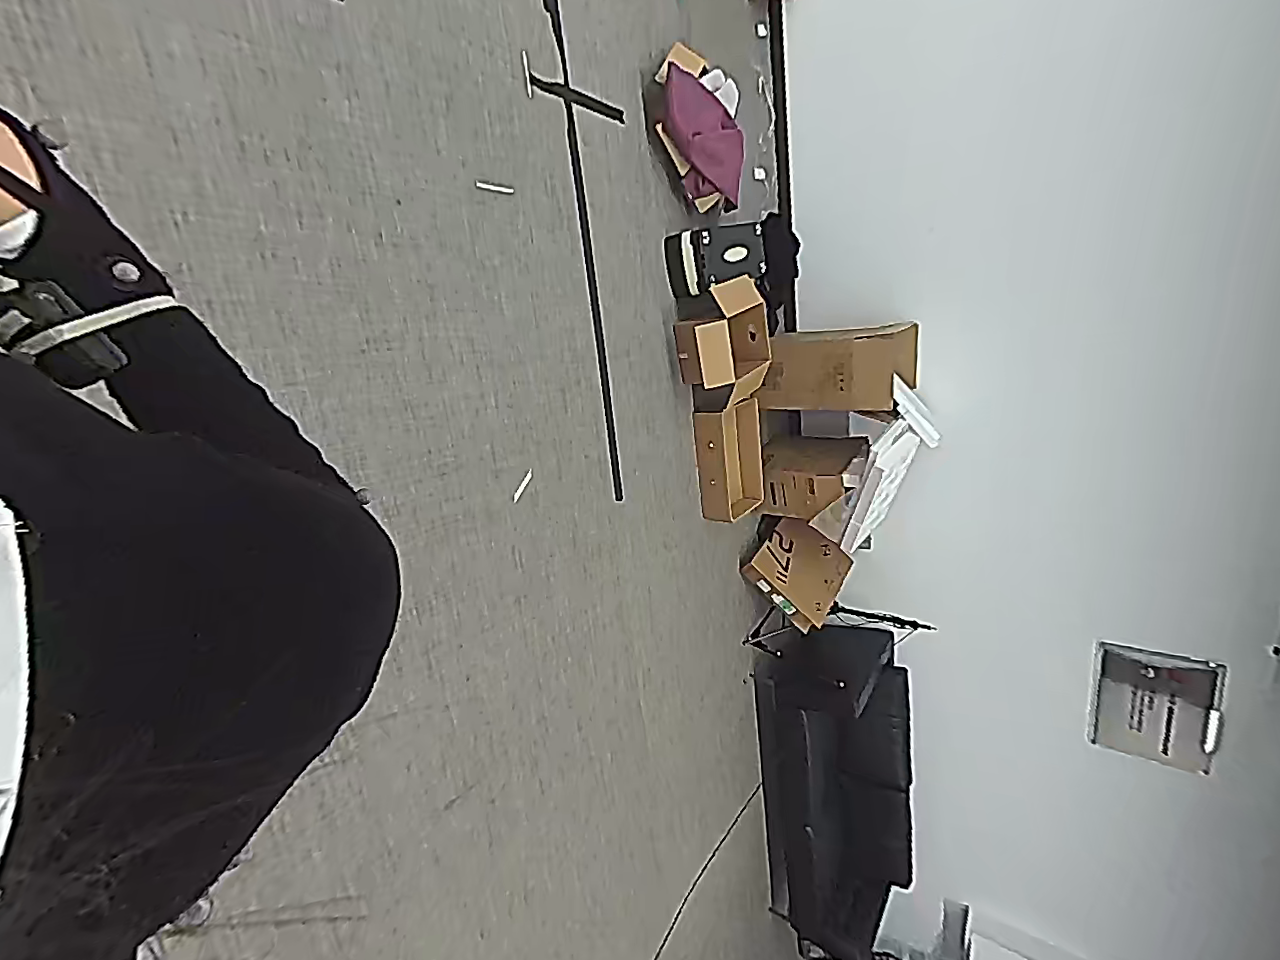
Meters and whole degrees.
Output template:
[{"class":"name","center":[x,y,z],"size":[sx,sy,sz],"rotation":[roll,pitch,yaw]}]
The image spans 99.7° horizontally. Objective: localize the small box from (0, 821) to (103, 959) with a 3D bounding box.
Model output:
[{"class":"small box","center":[-0.782,0.556,0.640],"size":[0.168,0.176,0.179],"rotation":[-27,111,-49]}]
